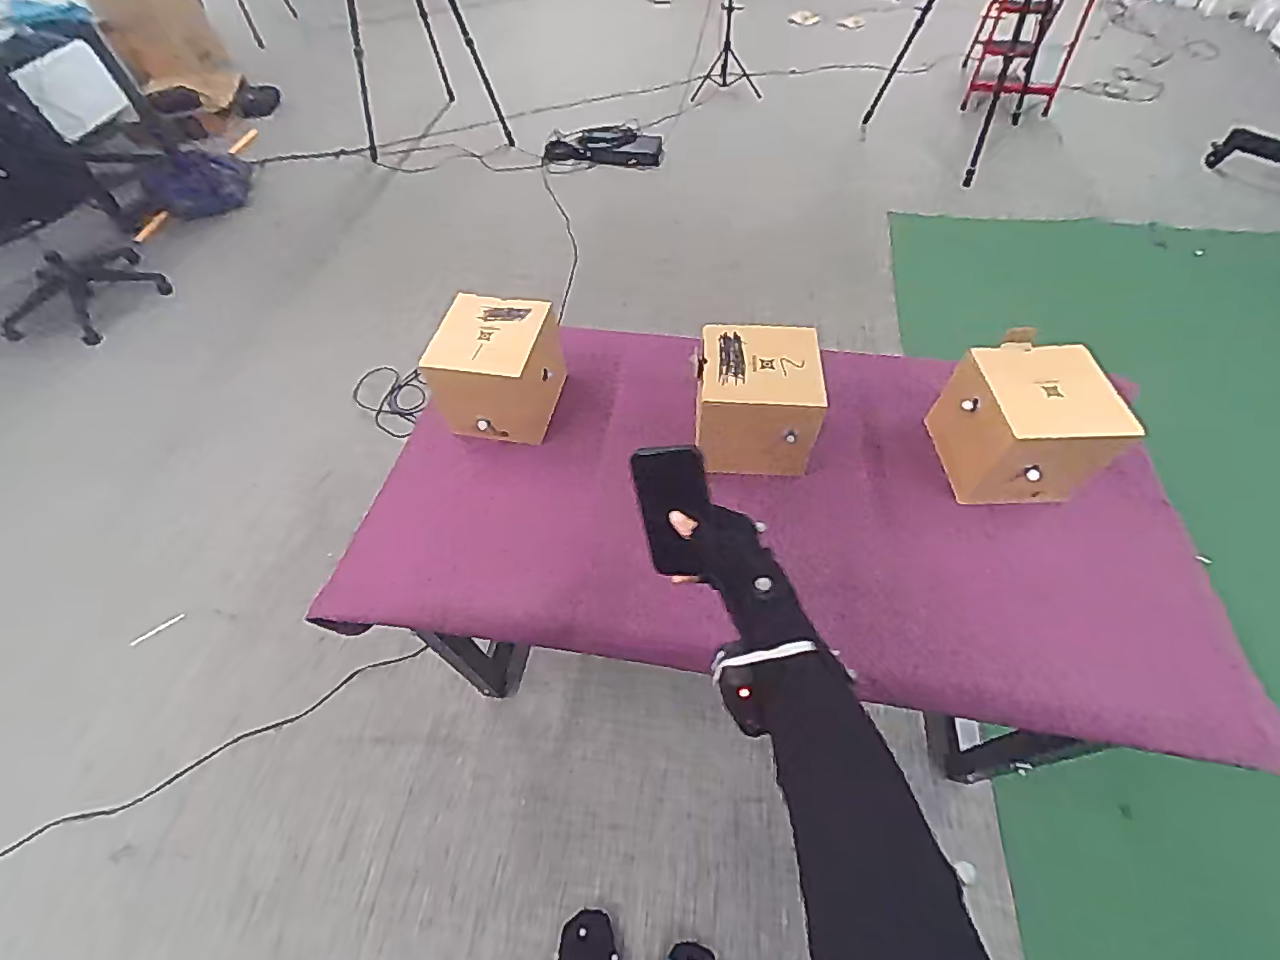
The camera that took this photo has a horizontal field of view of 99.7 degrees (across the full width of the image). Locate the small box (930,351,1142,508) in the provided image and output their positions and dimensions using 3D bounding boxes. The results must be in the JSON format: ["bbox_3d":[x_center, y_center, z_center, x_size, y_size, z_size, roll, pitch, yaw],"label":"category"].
[{"bbox_3d":[0.567,-0.069,0.806,0.168,0.176,0.179,-1,54,2],"label":"small box"}]

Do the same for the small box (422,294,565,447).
[{"bbox_3d":[-0.232,-0.183,0.914,0.168,0.176,0.179,8,57,8],"label":"small box"}]
